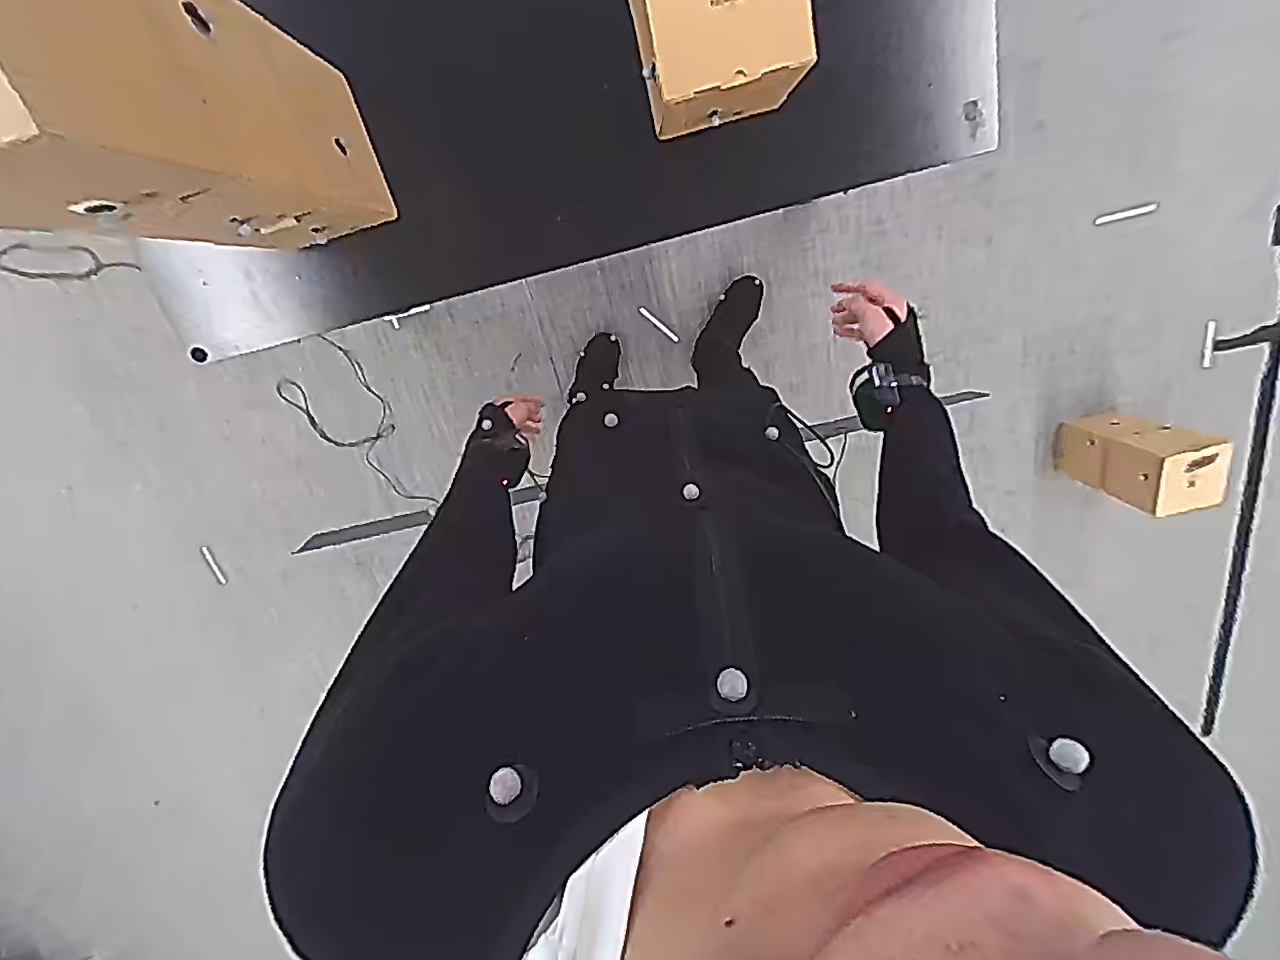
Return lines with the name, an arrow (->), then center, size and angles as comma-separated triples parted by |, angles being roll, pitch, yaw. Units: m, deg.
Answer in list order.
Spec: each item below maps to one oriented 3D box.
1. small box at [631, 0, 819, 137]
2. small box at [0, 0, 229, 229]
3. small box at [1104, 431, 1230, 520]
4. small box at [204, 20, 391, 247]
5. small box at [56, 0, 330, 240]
small box -> 0.085, -0.523, 0.611 | 0.168, 0.176, 0.179 | -14, 111, 4
small box -> -0.426, -0.276, 0.341 | 0.168, 0.176, 0.179 | -14, 111, 5
small box -> 1.382, -0.020, 1.432 | 0.168, 0.176, 0.179 | -13, 112, 3
small box -> -0.434, -0.392, 0.648 | 0.168, 0.176, 0.179 | -15, 111, 4
small box -> -0.431, -0.335, 0.493 | 0.168, 0.176, 0.179 | -14, 111, 5
